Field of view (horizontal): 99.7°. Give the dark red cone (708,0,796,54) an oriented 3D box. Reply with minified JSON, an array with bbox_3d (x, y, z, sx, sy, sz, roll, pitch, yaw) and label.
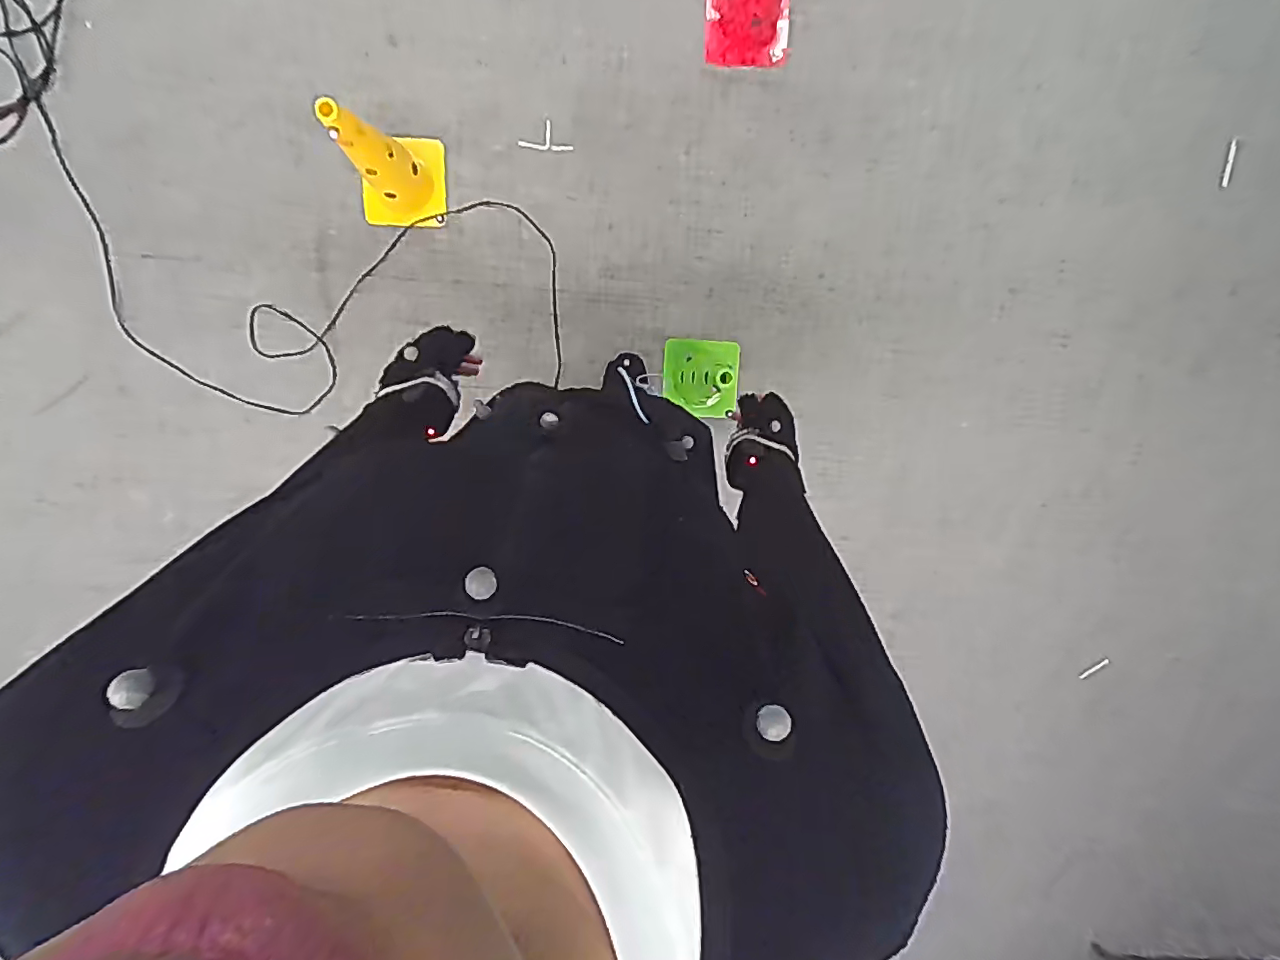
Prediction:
[{"bbox_3d":[0.264,-1.071,1.086,0.202,0.394,0.201,-1,99,-2],"label":"dark red cone"}]

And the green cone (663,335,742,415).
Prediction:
[{"bbox_3d":[0.167,-0.247,1.257,0.202,0.368,0.200,3,100,-1],"label":"green cone"}]
